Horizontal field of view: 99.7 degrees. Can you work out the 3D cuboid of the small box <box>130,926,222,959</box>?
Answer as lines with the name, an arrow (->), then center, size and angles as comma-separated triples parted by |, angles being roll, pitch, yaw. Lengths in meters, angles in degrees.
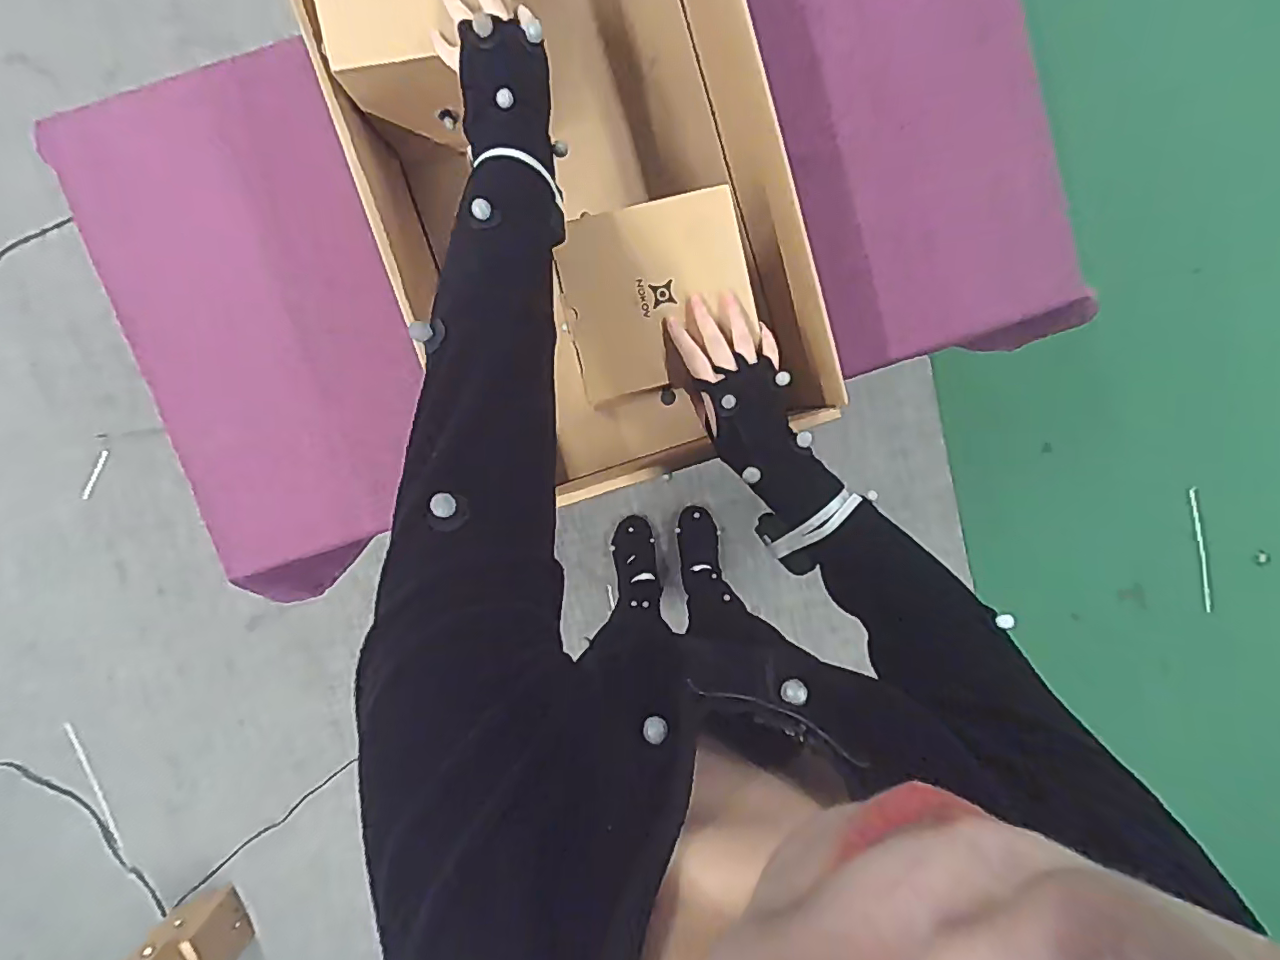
small box -> -1.203, 1.274, 1.354 | 0.168, 0.176, 0.179 | -28, 97, 3
